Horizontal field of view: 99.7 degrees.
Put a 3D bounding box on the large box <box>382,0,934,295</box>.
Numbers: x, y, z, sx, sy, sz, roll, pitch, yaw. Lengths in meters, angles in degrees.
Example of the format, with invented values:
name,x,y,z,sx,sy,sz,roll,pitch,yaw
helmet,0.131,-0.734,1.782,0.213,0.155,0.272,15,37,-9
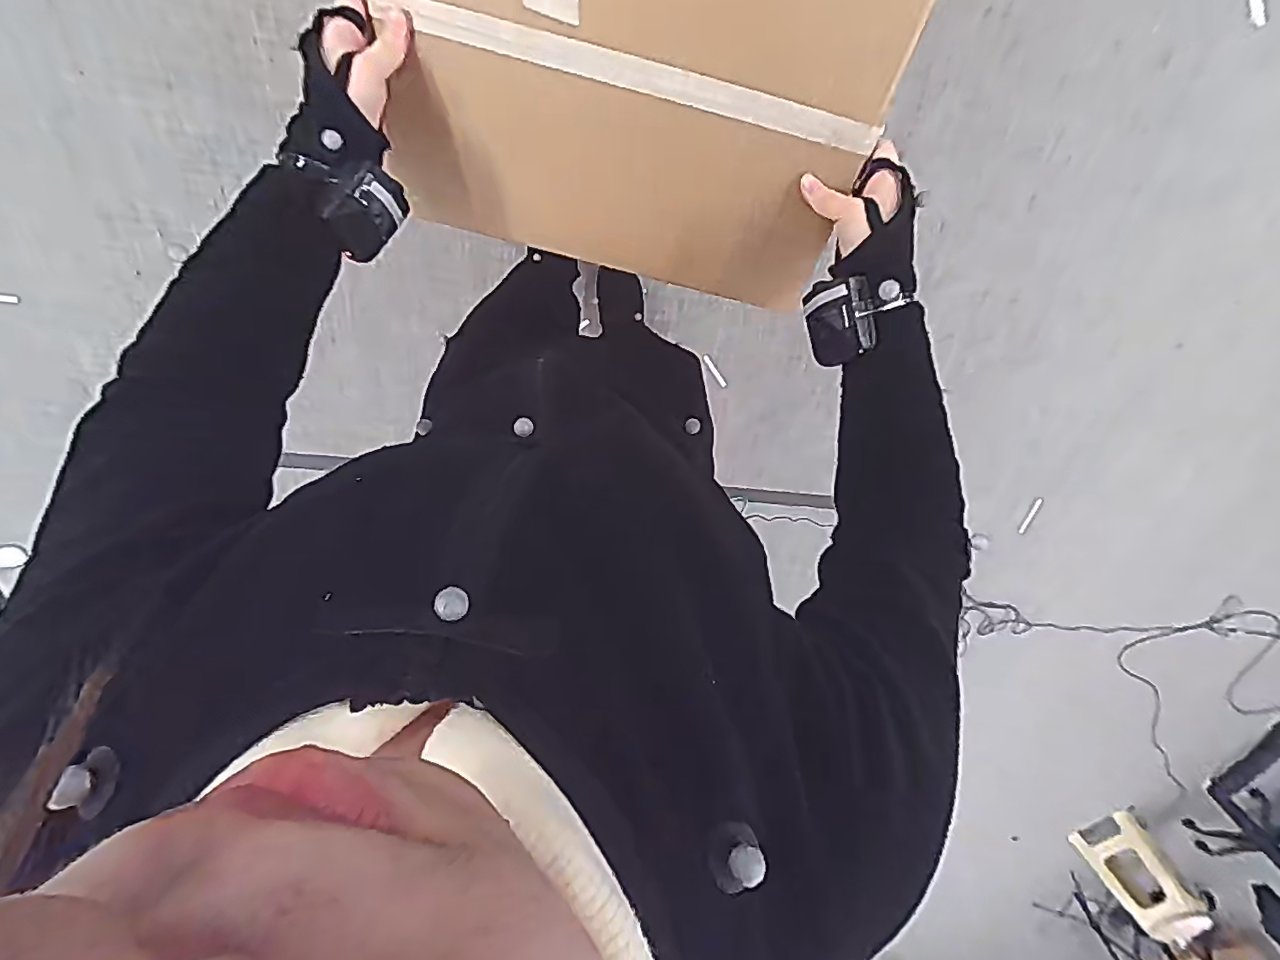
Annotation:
name,x,y,z,sx,sy,sz,roll,pitch,yaw
large box,0.017,-0.430,0.522,0.408,0.320,0.320,13,134,-4
